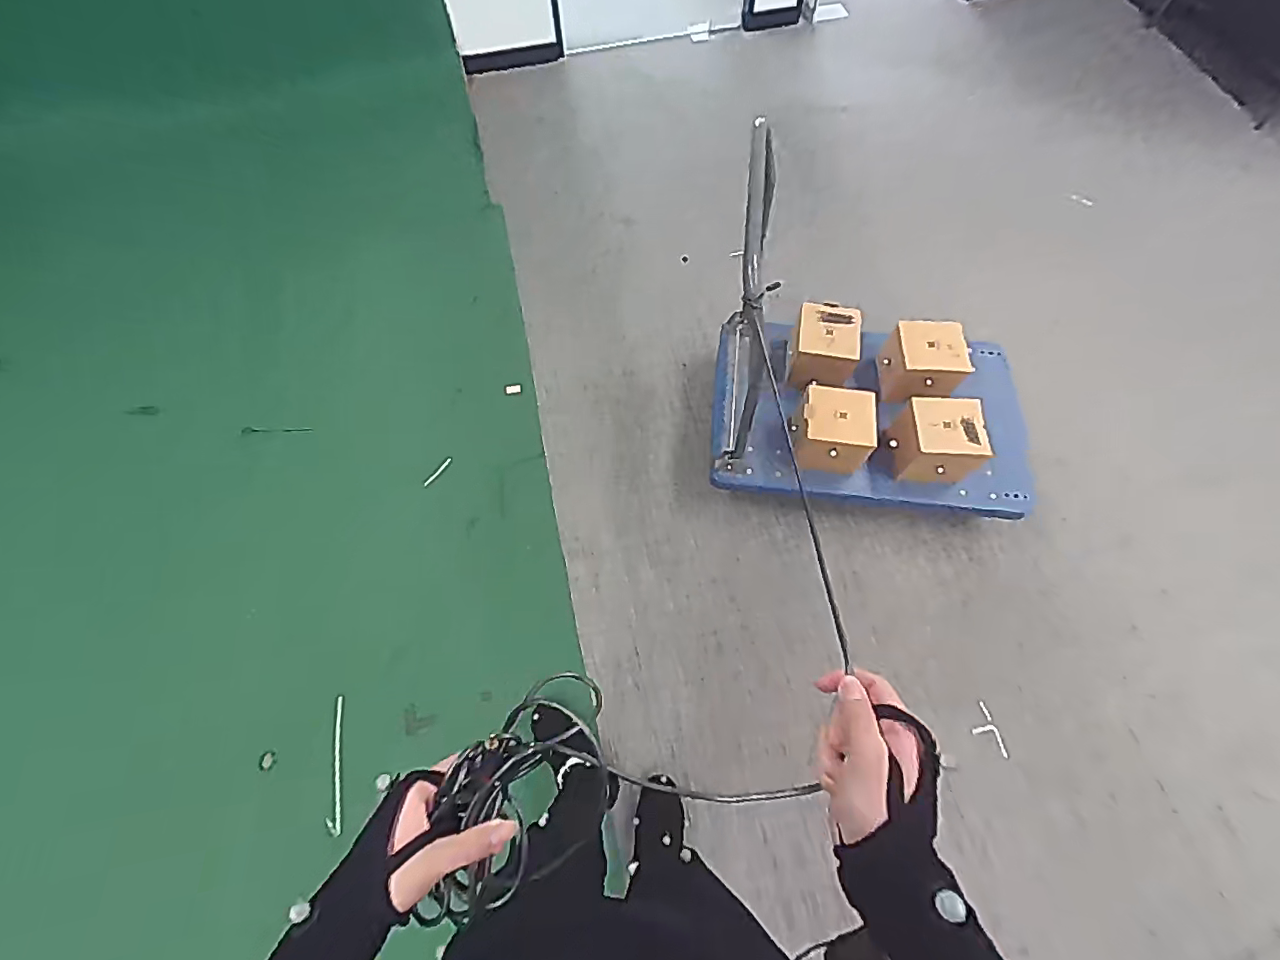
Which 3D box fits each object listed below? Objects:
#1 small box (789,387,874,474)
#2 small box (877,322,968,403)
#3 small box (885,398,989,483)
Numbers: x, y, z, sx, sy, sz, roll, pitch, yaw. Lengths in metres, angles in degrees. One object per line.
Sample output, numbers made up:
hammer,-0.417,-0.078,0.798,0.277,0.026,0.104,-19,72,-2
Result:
small box,0.510,-0.128,1.453,0.179,0.176,0.168,7,66,5
small box,0.791,-0.329,1.538,0.179,0.176,0.168,3,66,2
small box,0.778,-0.101,1.433,0.179,0.176,0.168,2,65,3
